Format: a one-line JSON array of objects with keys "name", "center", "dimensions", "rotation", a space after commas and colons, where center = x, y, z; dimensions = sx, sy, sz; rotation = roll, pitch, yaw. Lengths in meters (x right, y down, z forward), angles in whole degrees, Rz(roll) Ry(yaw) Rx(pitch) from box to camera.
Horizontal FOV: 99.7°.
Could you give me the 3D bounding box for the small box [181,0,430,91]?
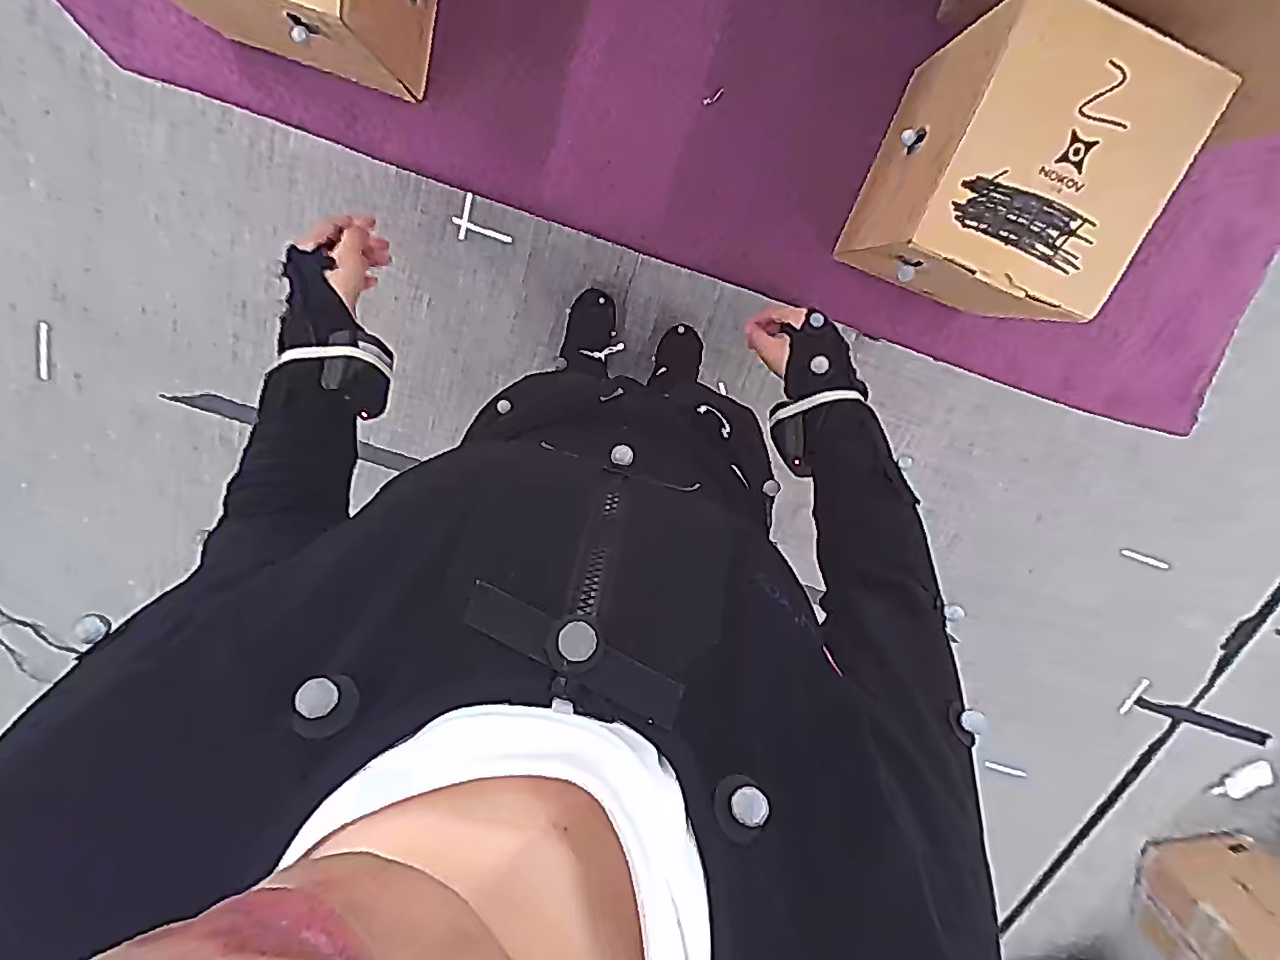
[{"name": "small box", "center": [-0.265, -0.425, 0.395], "dimensions": [0.179, 0.176, 0.168], "rotation": [14, 108, -10]}]
